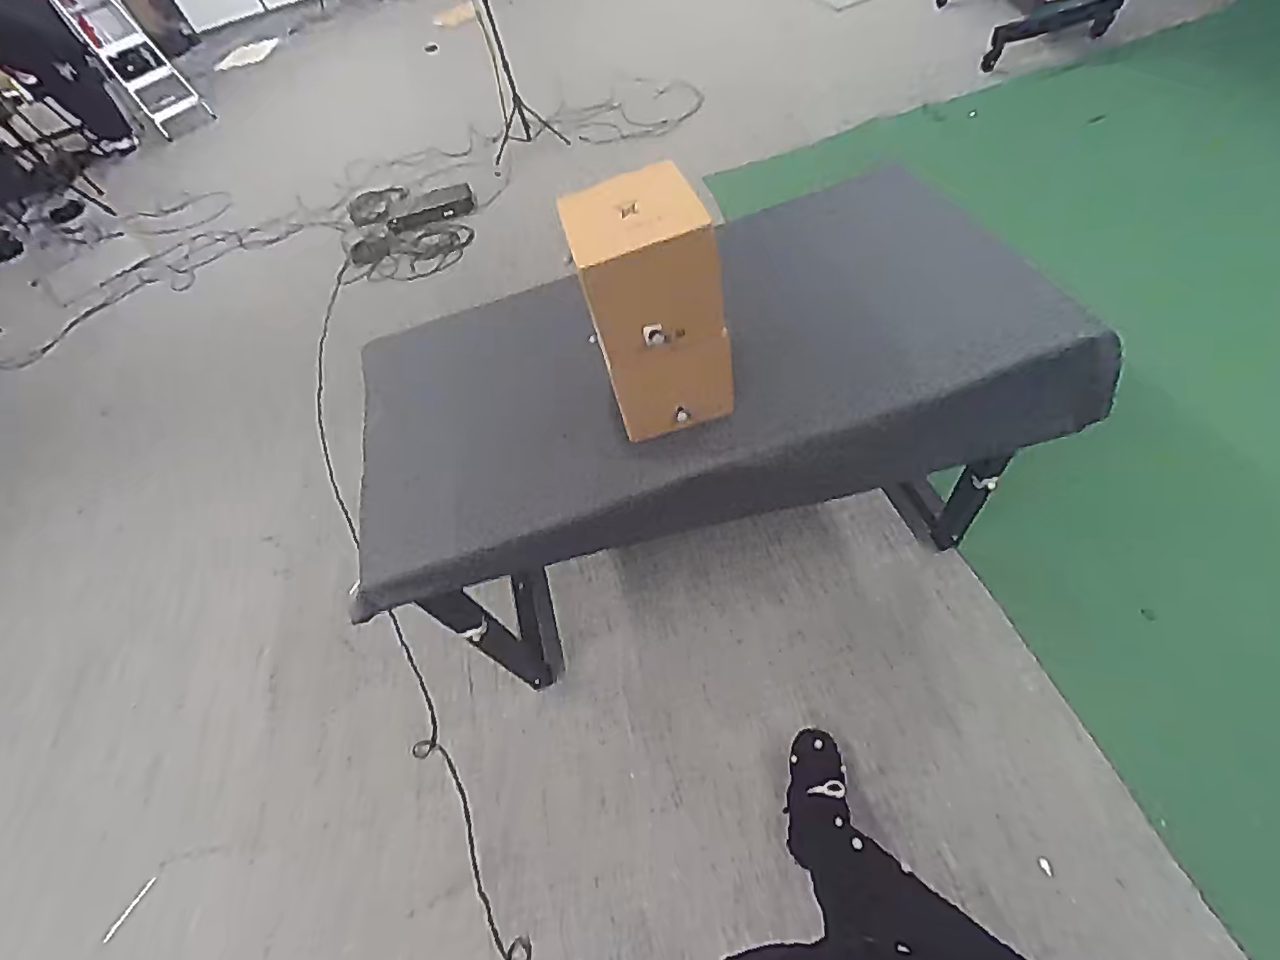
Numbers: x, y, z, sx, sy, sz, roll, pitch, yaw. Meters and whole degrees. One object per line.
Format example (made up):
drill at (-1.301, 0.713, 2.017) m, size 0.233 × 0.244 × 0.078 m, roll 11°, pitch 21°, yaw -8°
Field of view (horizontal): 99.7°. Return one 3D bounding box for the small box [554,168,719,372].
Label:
small box at (-0.002, -0.280, 0.734) m, size 0.168 × 0.176 × 0.179 m, roll -20°, pitch 54°, yaw 1°

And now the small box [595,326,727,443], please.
small box at (0.032, -0.186, 0.863) m, size 0.179 × 0.176 × 0.168 m, roll -17°, pitch 53°, yaw 0°
